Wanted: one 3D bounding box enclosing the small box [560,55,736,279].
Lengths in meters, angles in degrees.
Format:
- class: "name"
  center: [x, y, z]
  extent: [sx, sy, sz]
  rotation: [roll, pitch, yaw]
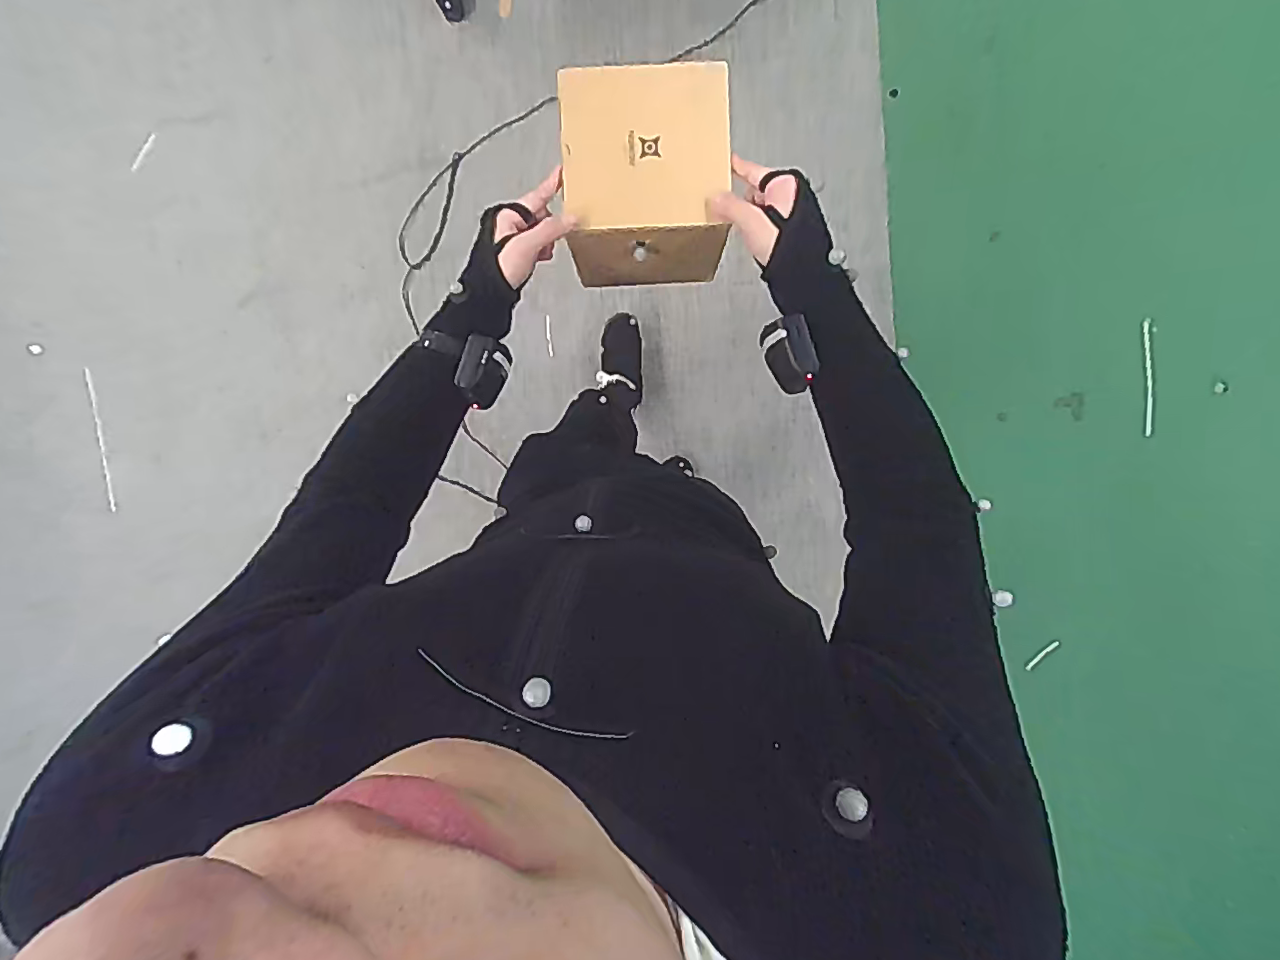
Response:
- class: "small box"
  center: [0.009, -0.344, 0.625]
  extent: [0.179, 0.176, 0.168]
  rotation: [-3, 91, 2]
